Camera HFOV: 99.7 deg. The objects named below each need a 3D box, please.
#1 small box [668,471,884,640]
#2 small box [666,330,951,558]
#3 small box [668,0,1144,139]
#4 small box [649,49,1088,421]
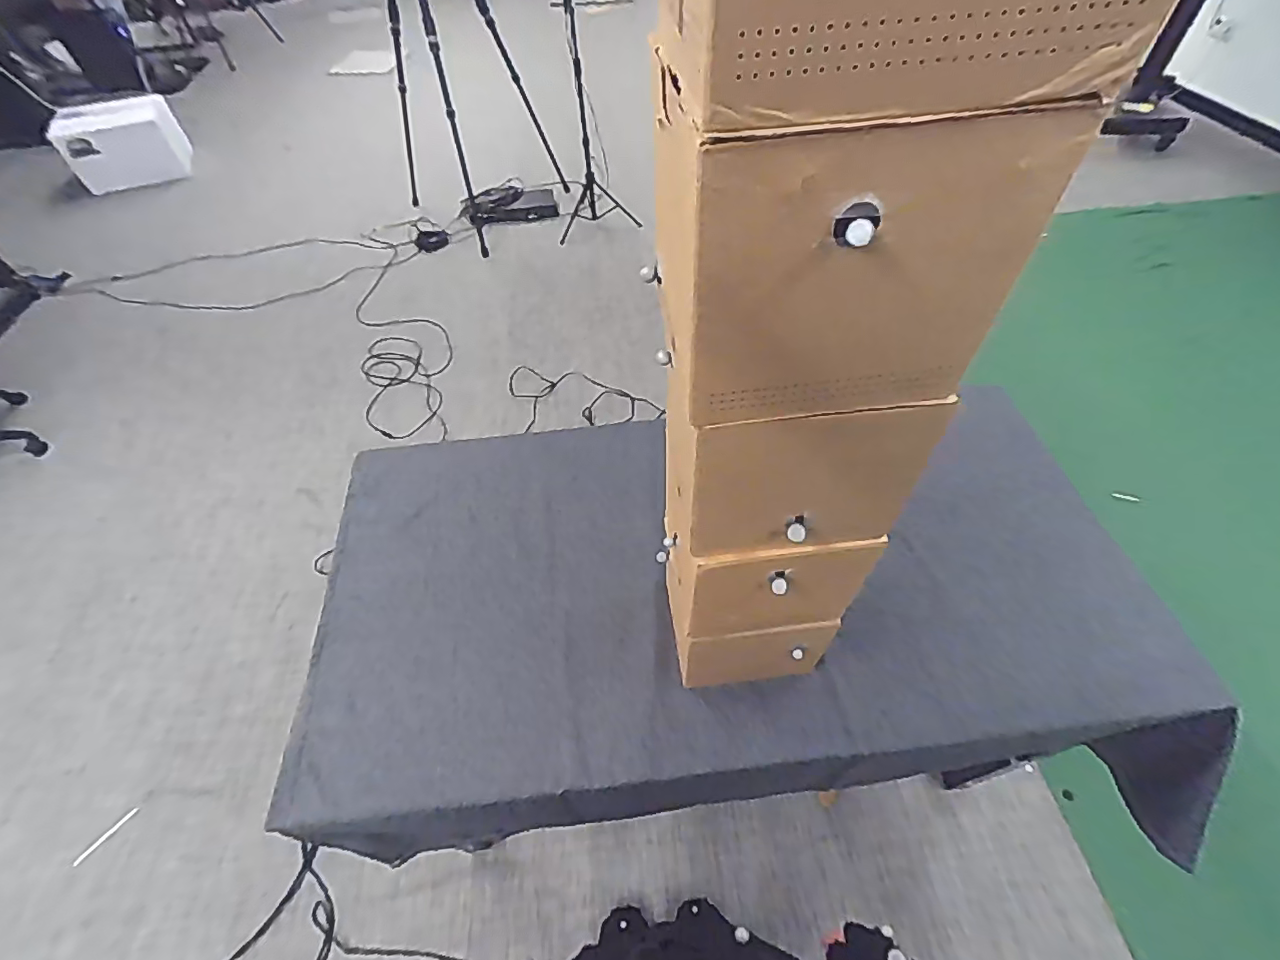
[{"bbox_3d":[0.127,0.058,0.590,0.179,0.176,0.168,-7,51,-2],"label":"small box"},{"bbox_3d":[0.118,-0.048,0.466,0.179,0.176,0.168,-6,51,-2],"label":"small box"},{"bbox_3d":[0.100,-0.255,0.213,0.179,0.176,0.168,-5,52,0],"label":"small box"},{"bbox_3d":[0.104,-0.153,0.340,0.179,0.176,0.168,-6,52,-2],"label":"small box"}]
